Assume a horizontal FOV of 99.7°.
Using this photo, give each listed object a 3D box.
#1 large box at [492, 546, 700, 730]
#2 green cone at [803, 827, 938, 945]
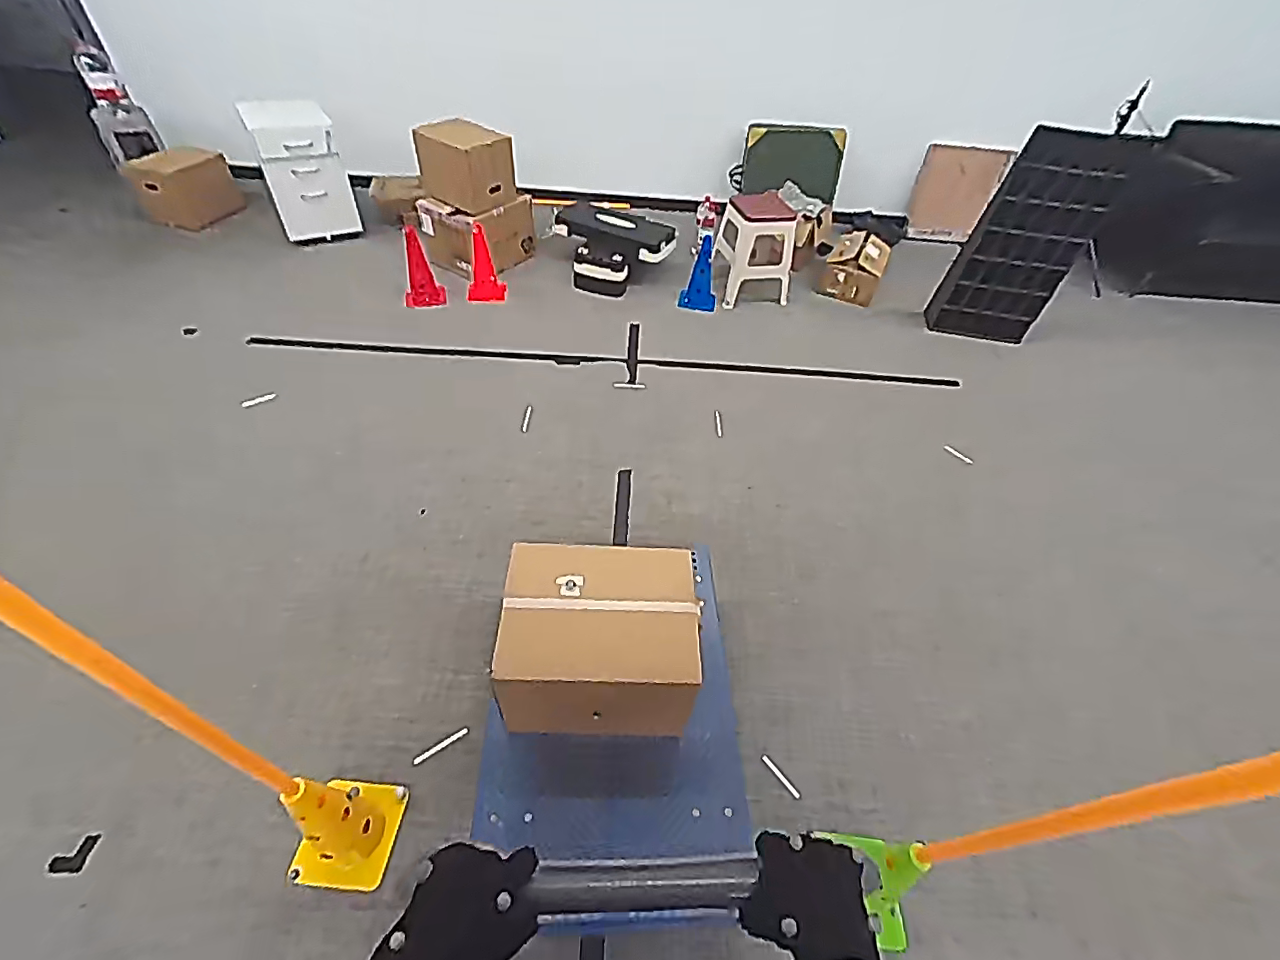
[{"bbox_3d":[-0.090,0.368,1.236,0.408,0.320,0.320,3,48,-3],"label":"large box"},{"bbox_3d":[0.490,0.790,1.091,0.202,0.368,0.200,8,46,0],"label":"green cone"}]
